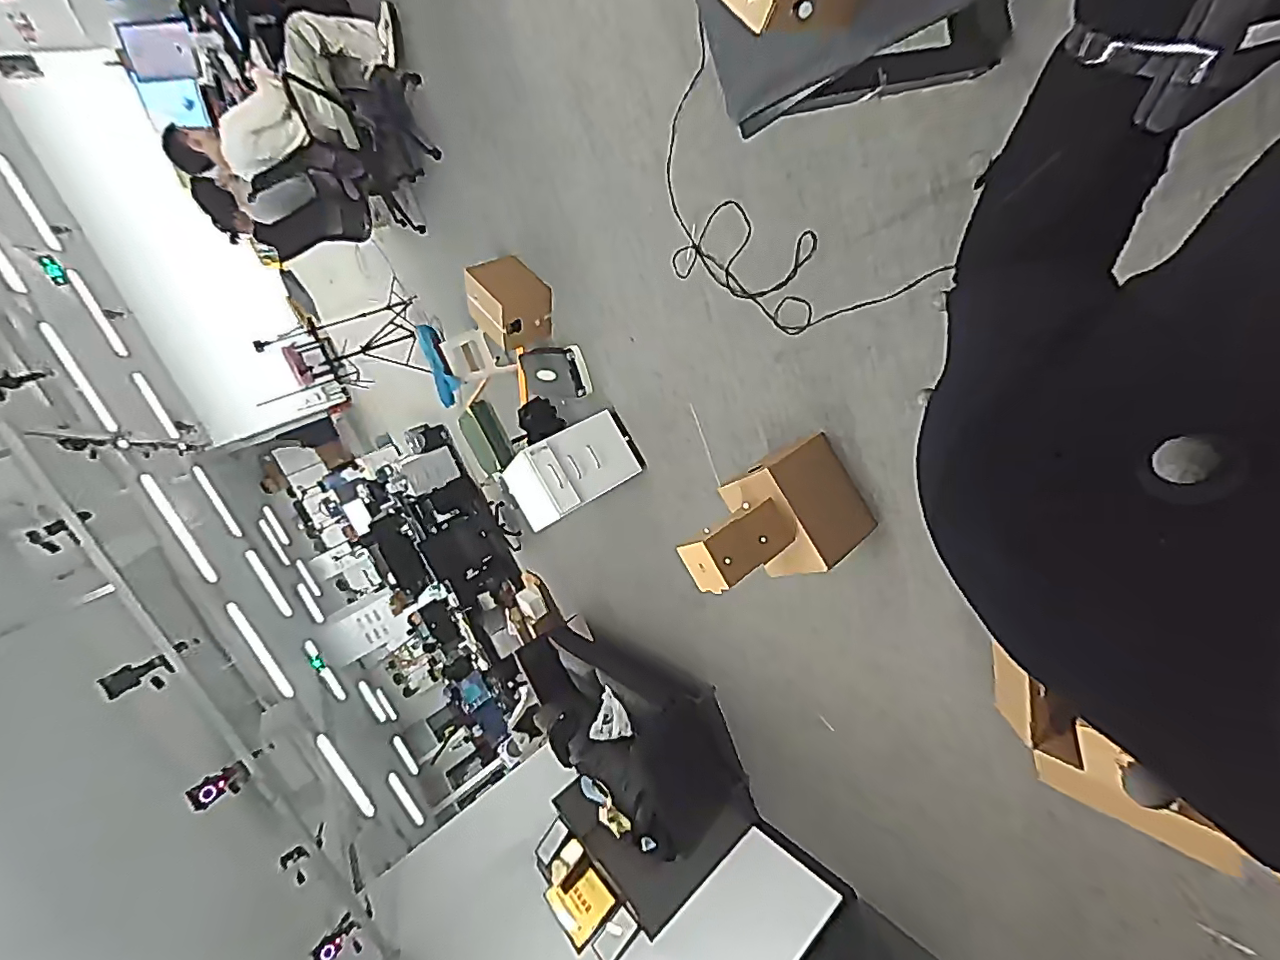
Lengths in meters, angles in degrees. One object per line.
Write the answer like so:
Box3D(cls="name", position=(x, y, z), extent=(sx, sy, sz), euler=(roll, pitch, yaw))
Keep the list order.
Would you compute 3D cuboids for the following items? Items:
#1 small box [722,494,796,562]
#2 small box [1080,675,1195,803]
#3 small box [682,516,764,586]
Box3D(cls="small box", position=(0.406, 0.172, 1.880), extent=(0.179, 0.176, 0.168), euler=(60, 151, -1))
Box3D(cls="small box", position=(1.181, 0.603, 1.281), extent=(0.168, 0.176, 0.179), euler=(1, 118, 55))
Box3D(cls="small box", position=(0.277, 0.233, 1.801), extent=(0.179, 0.176, 0.168), euler=(60, 150, -1))
